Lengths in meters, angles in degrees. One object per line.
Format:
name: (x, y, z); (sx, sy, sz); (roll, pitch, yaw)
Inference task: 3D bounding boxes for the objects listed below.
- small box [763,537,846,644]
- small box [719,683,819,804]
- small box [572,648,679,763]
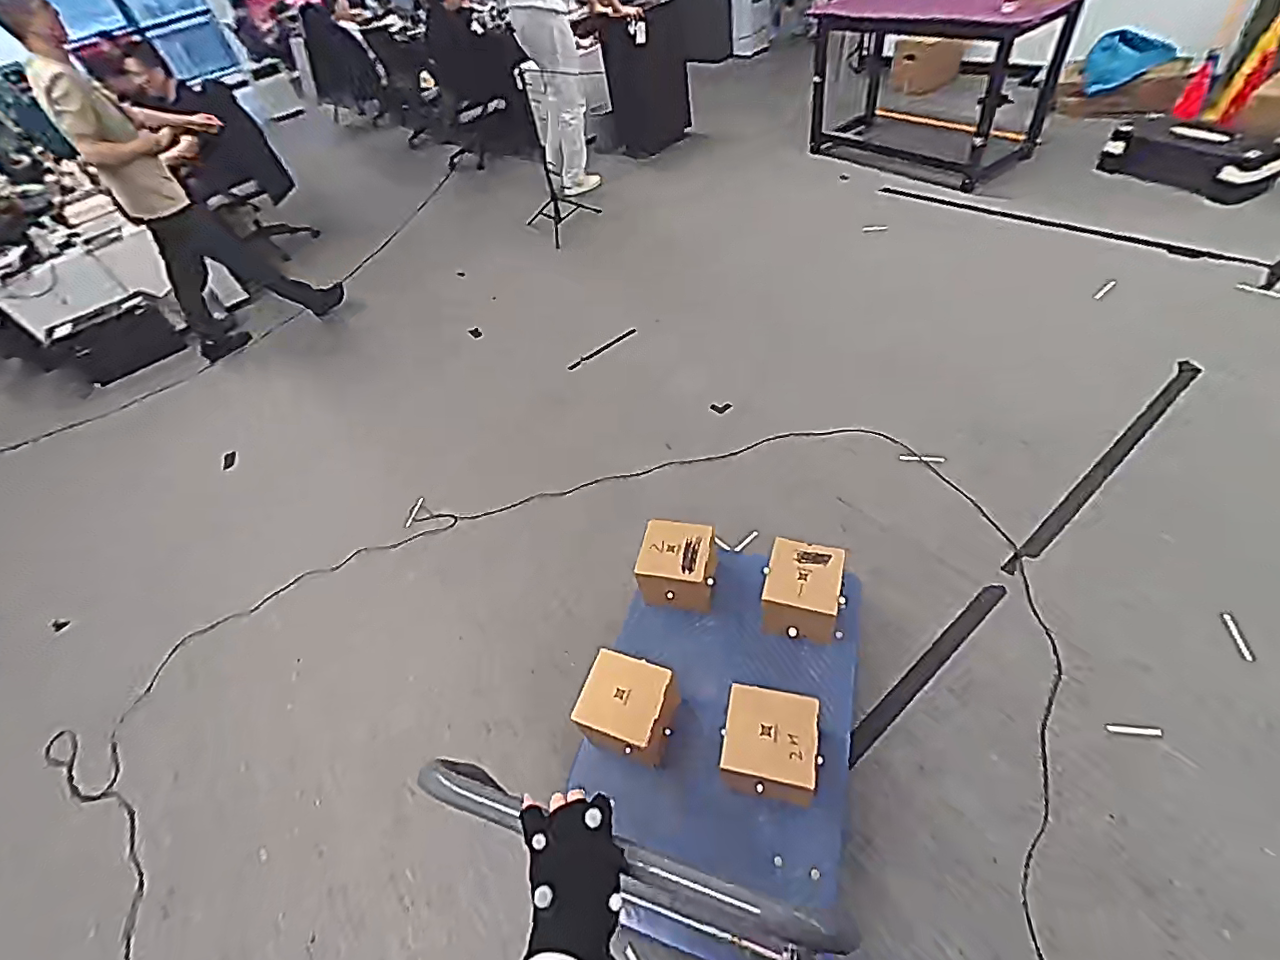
small box: (0.397, 0.270, 1.316); (0.168, 0.176, 0.179); (9, 53, 20)
small box: (0.267, 0.541, 1.107); (0.179, 0.176, 0.168); (5, 51, 17)
small box: (-0.024, 0.506, 1.206); (0.179, 0.176, 0.168); (11, 53, 20)
